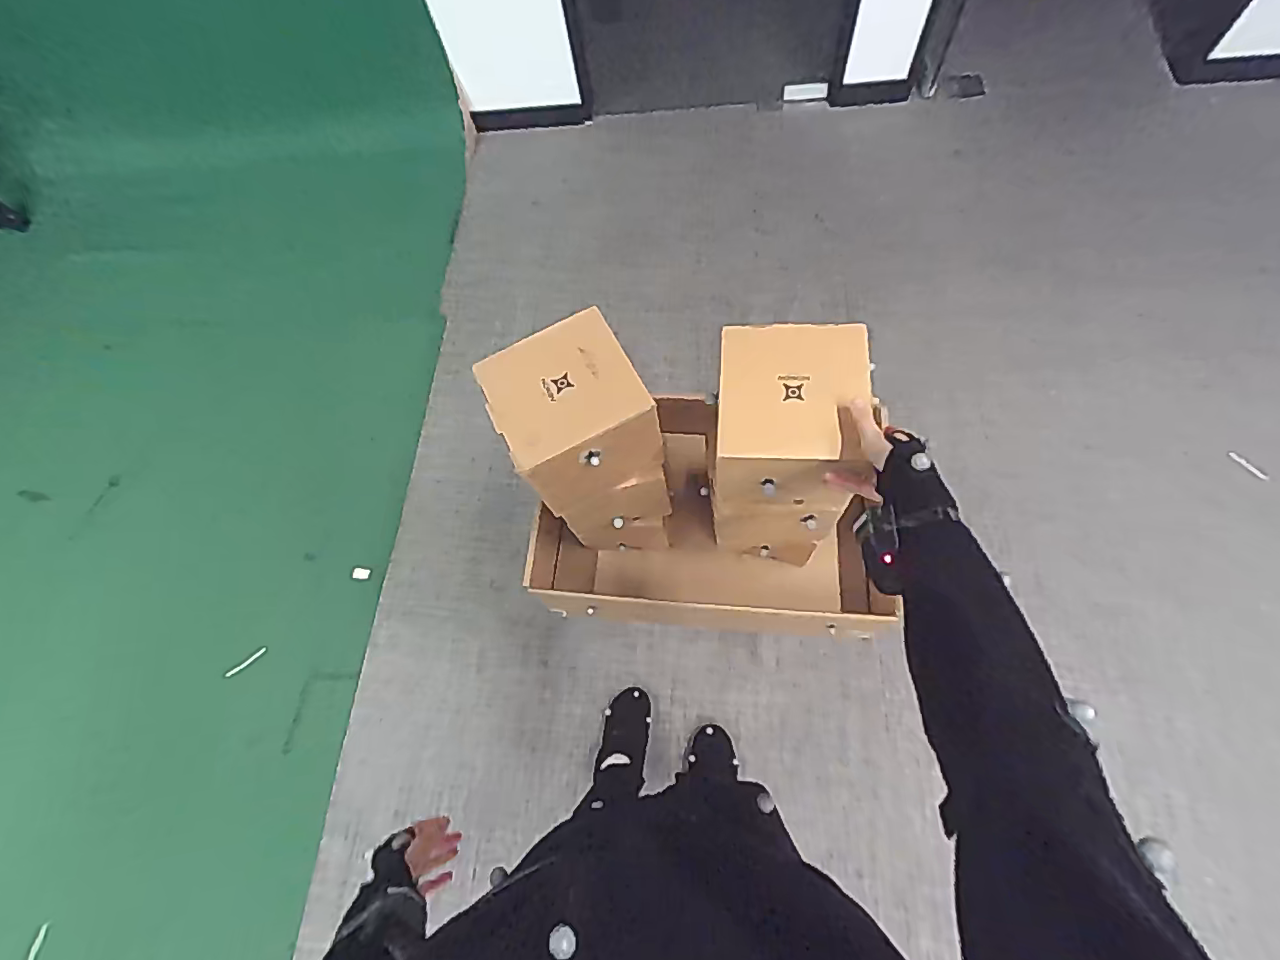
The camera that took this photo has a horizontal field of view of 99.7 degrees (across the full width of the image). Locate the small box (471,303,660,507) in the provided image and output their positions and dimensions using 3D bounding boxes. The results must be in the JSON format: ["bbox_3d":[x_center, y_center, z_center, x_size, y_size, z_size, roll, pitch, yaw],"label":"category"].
[{"bbox_3d":[-0.087,-0.087,0.707,0.179,0.176,0.168,-26,68,-4],"label":"small box"}]

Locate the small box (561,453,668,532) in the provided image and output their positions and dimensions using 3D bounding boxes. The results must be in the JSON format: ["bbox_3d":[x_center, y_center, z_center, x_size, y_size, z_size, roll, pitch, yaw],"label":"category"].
[{"bbox_3d":[-0.056,-0.036,0.858,0.168,0.176,0.179,-14,68,2],"label":"small box"}]

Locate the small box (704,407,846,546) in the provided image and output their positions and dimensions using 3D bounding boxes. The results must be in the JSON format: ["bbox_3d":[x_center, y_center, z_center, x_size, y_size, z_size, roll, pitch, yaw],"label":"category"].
[{"bbox_3d":[0.190,-0.006,0.817,0.179,0.176,0.168,-6,66,6],"label":"small box"}]

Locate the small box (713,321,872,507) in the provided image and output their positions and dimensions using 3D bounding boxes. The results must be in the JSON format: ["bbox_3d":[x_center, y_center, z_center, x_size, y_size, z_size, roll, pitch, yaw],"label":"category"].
[{"bbox_3d":[0.179,-0.073,0.670,0.168,0.176,0.179,2,67,9],"label":"small box"}]

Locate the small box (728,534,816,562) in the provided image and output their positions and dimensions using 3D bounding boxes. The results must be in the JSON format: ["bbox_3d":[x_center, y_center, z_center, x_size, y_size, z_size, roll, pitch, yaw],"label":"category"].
[{"bbox_3d":[0.233,0.035,0.974,0.168,0.176,0.179,12,71,11],"label":"small box"}]
